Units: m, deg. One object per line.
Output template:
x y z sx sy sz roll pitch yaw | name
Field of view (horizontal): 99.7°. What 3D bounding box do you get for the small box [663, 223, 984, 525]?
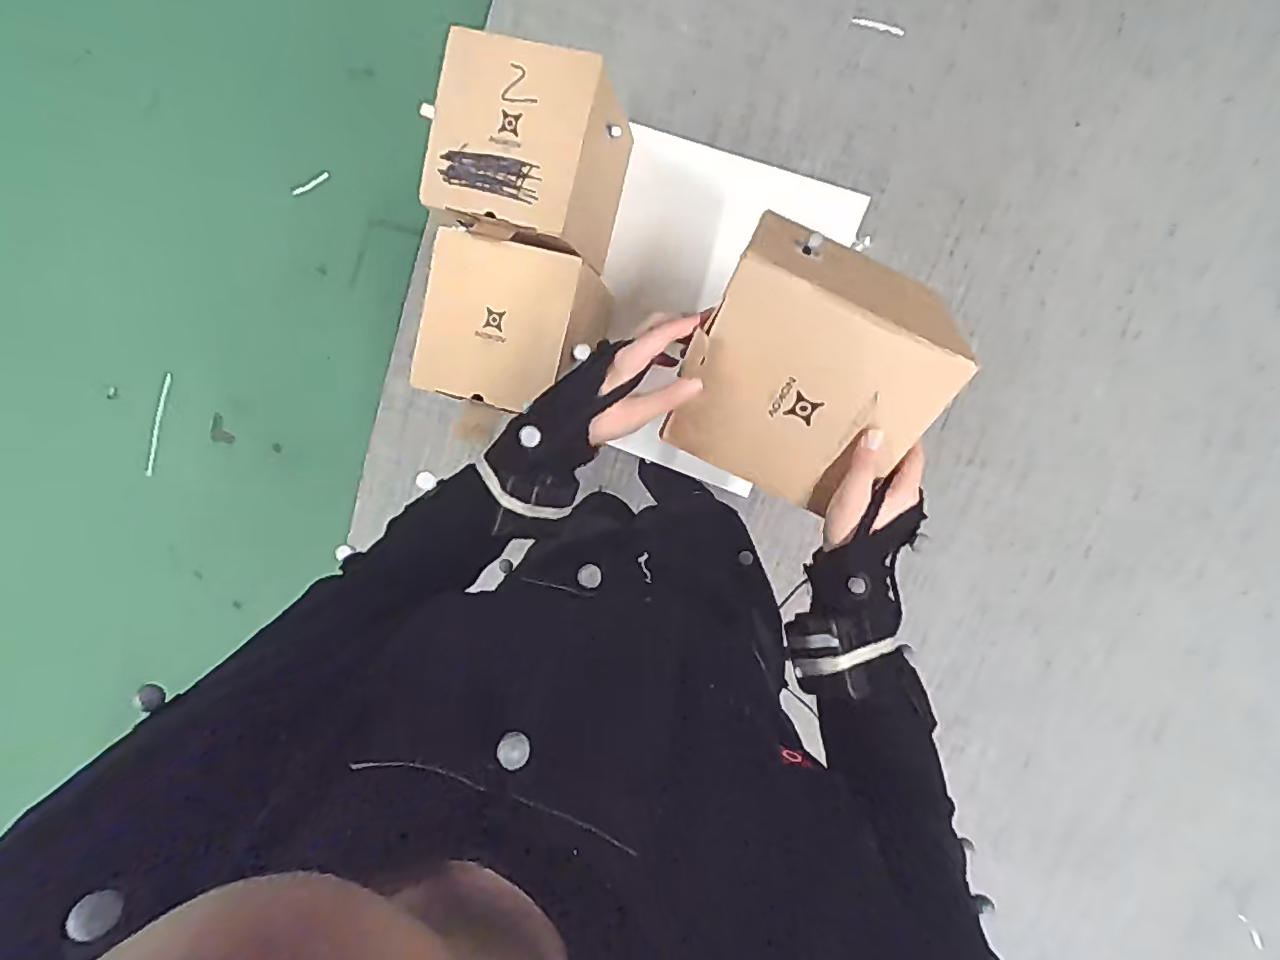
0.143 -0.099 0.463 0.179 0.176 0.168 24 131 1 | small box
